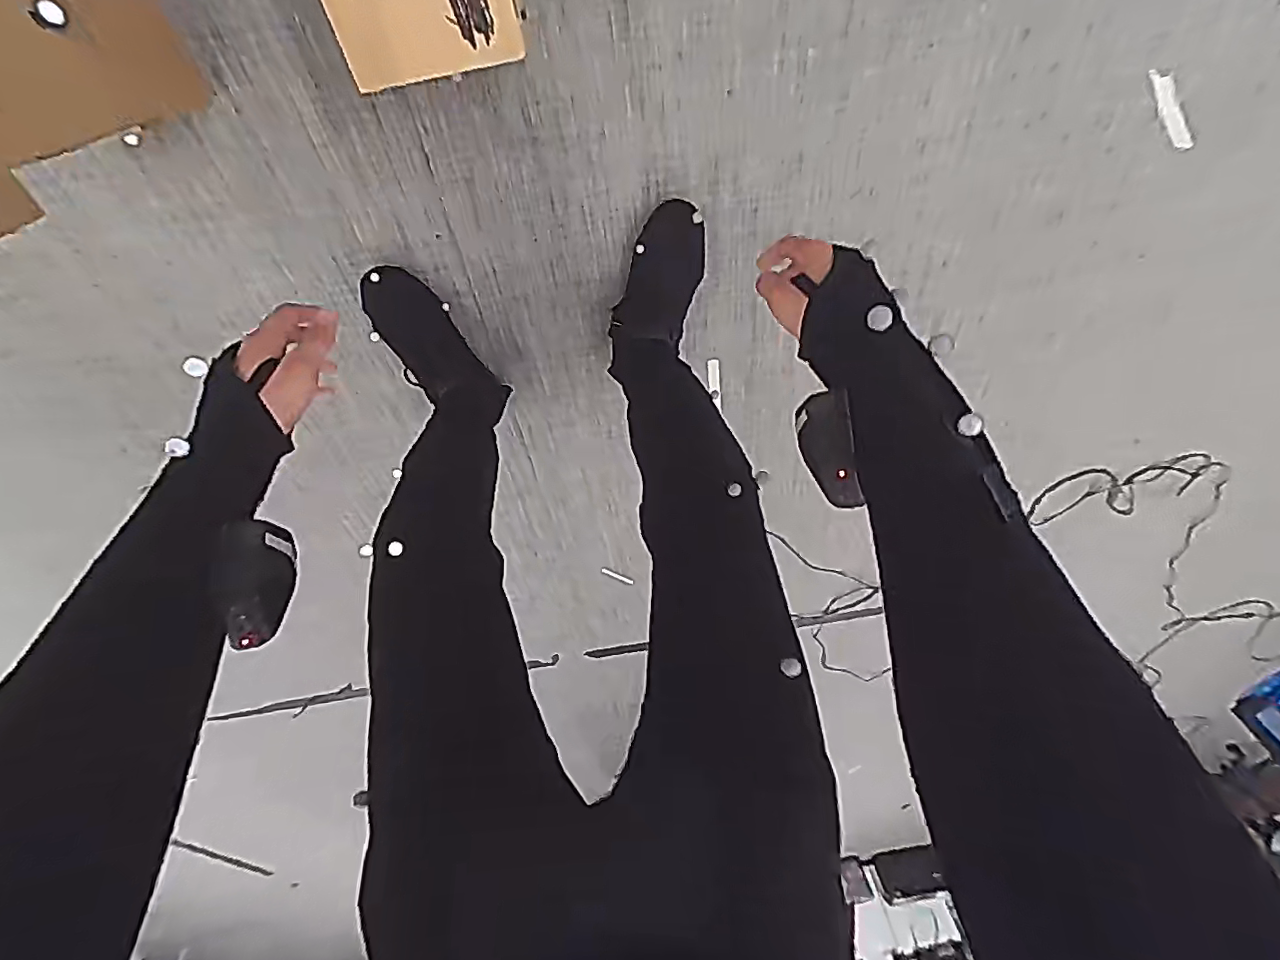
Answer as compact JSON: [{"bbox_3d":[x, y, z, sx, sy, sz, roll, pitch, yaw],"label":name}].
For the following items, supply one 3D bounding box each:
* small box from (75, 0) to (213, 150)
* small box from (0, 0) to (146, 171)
[{"bbox_3d":[-0.592,-0.447,0.540,0.168,0.176,0.179,-11,135,3],"label":"small box"},{"bbox_3d":[-0.562,-0.338,0.420,0.179,0.176,0.168,-12,134,3],"label":"small box"}]
